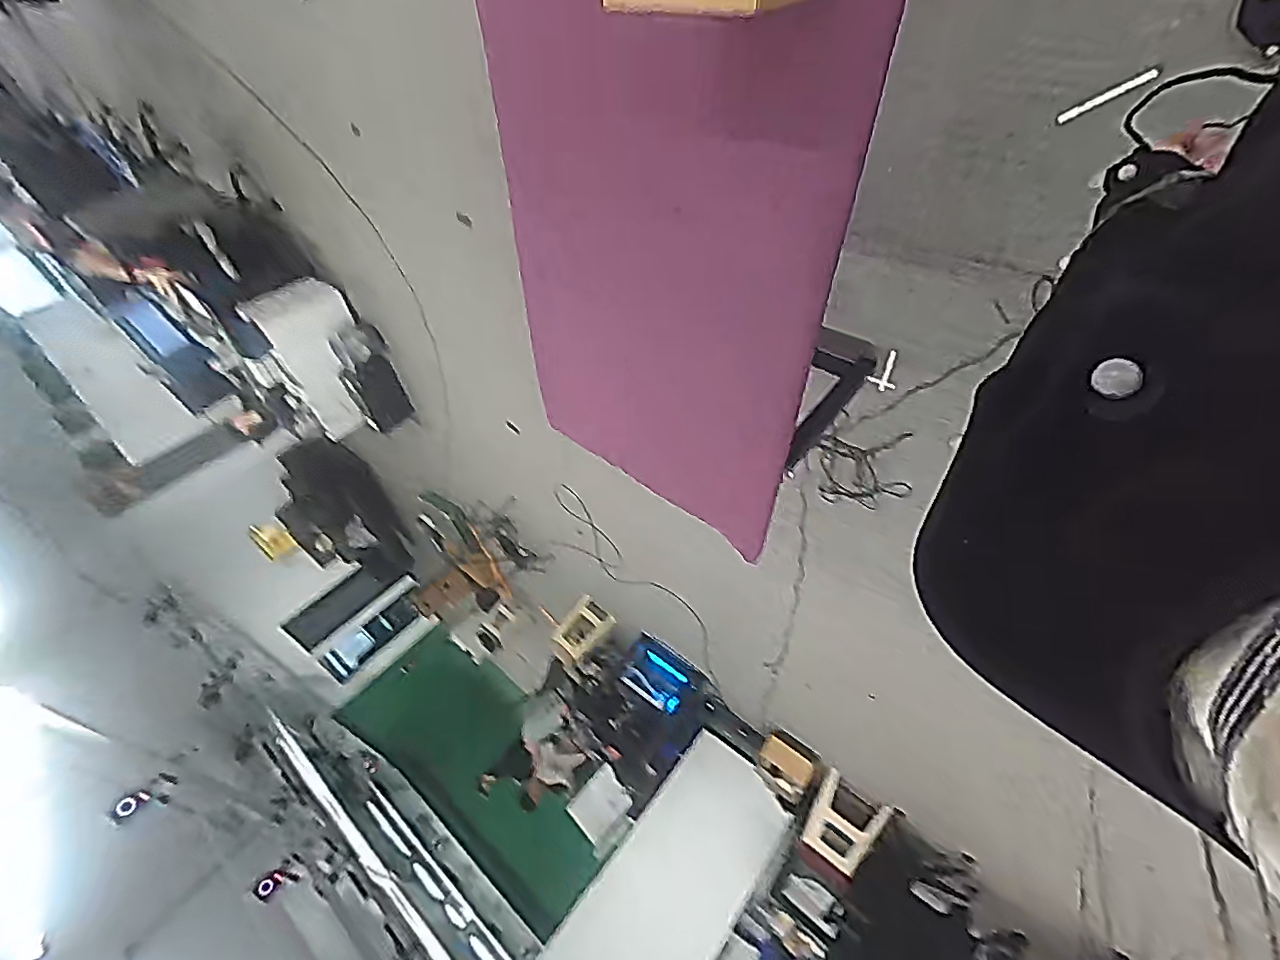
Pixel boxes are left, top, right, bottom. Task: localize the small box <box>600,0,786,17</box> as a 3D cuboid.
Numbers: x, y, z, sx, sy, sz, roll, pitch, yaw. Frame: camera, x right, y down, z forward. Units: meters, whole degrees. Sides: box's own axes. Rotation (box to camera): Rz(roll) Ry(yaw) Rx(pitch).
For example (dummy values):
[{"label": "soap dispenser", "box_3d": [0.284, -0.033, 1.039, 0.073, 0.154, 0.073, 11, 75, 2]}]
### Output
[{"label": "small box", "box_3d": [0.076, -0.521, 0.463, 0.179, 0.176, 0.168, 29, 147, 27]}]
